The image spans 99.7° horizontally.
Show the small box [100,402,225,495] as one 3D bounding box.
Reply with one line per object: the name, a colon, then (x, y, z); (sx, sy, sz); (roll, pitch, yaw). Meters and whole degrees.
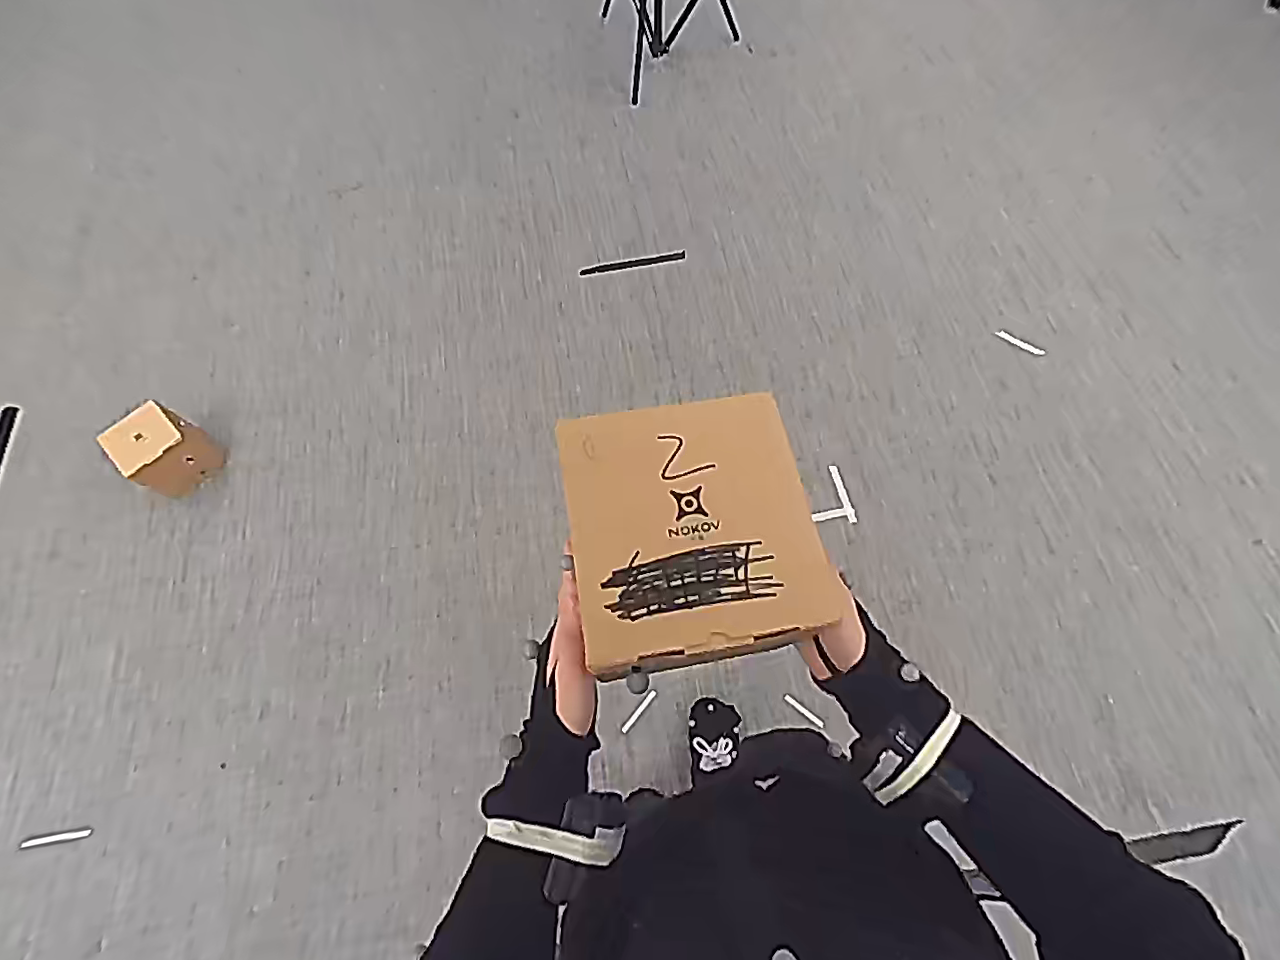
small box: (-1.331, -0.078, 1.520); (0.179, 0.176, 0.168); (40, 73, 17)
